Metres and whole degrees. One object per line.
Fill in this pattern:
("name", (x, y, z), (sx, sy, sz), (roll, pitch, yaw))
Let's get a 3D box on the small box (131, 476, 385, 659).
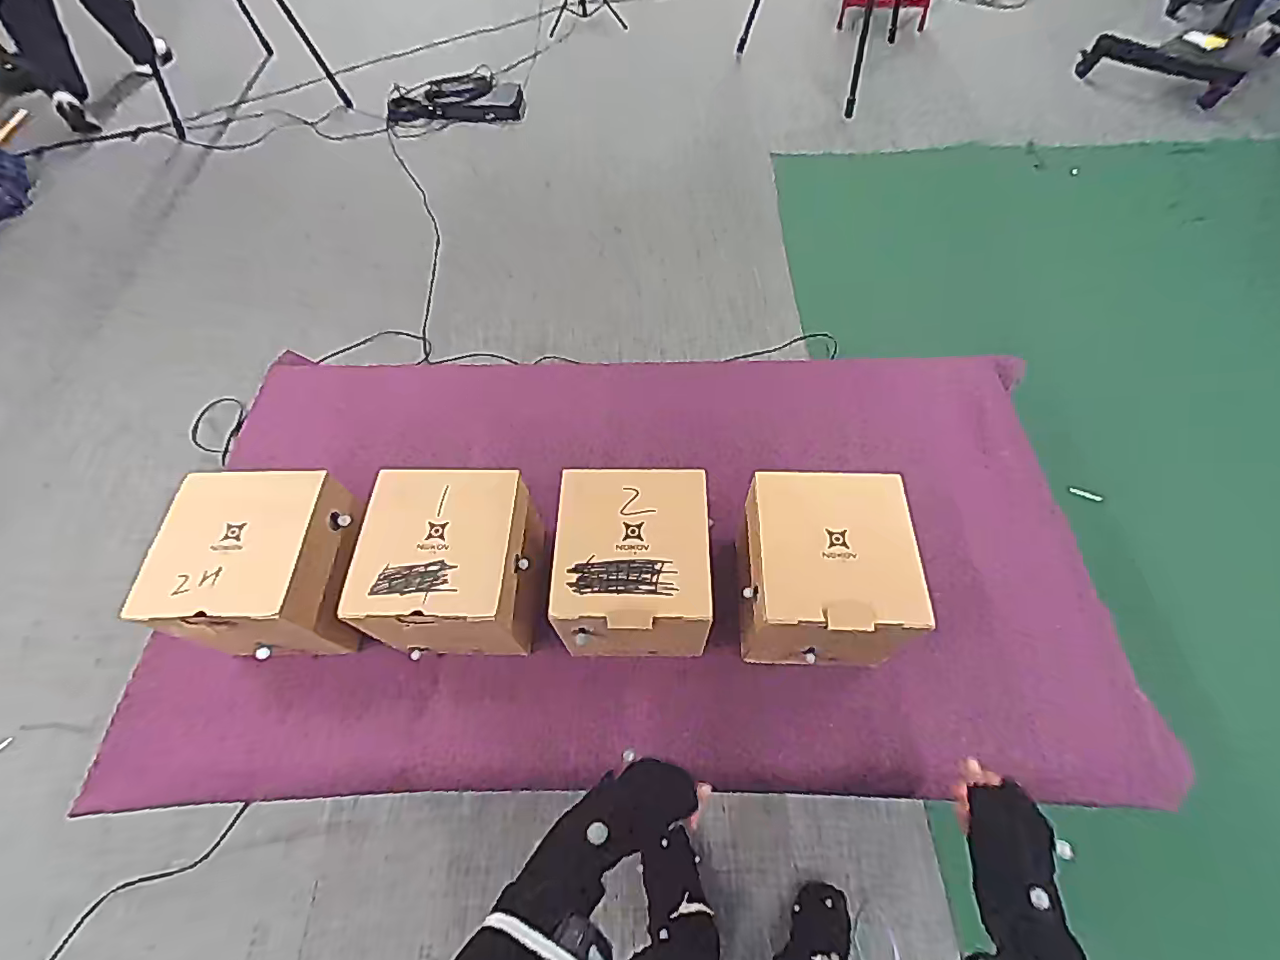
("small box", (-0.440, 0.111, 0.663), (0.168, 0.176, 0.179), (-1, 60, 2))
